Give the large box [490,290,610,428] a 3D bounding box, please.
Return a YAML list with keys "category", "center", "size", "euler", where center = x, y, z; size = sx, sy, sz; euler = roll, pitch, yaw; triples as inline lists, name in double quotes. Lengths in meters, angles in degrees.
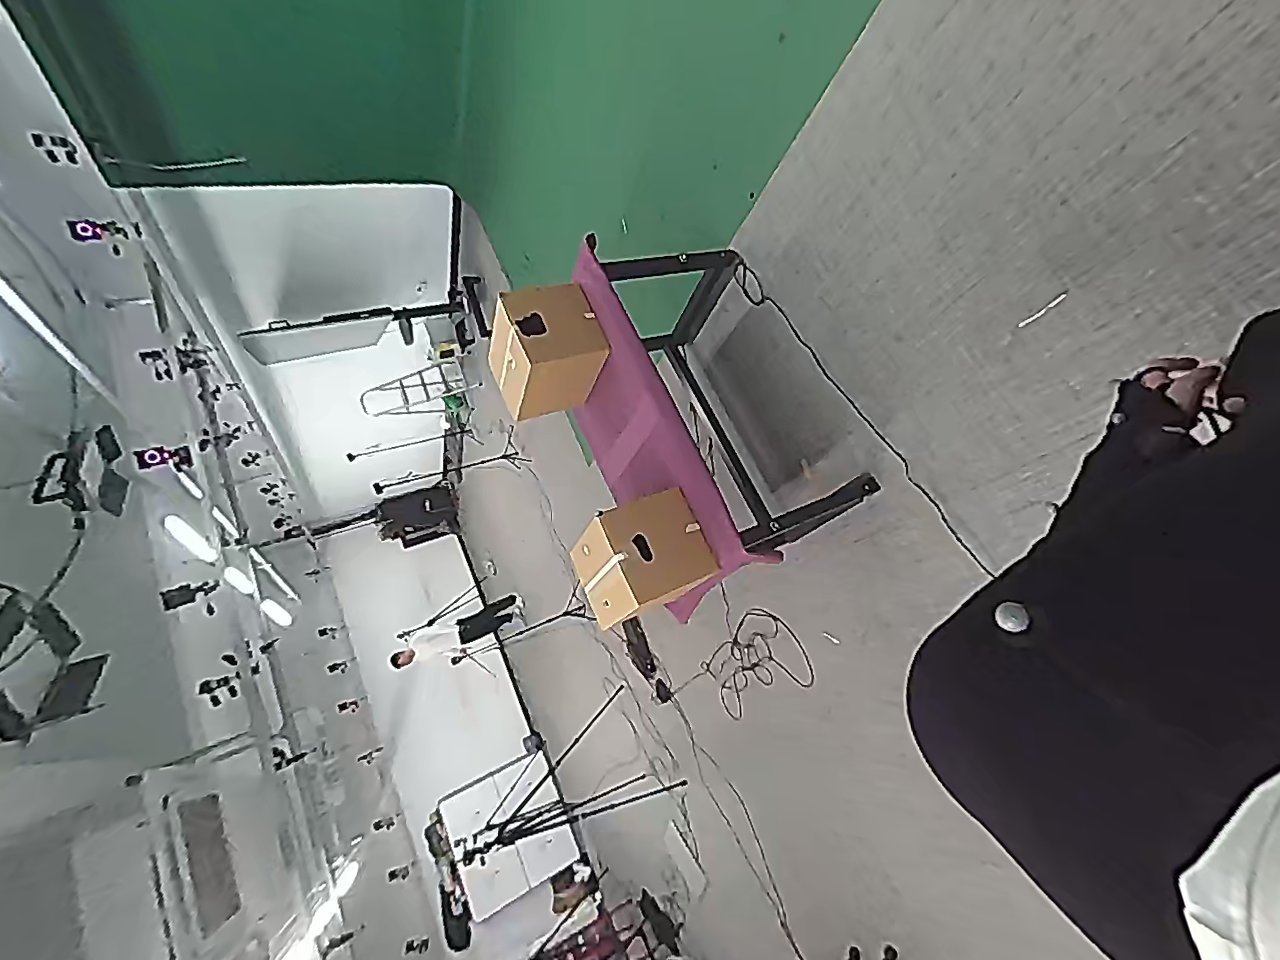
- category: "large box"
  center: [-0.354, -0.455, 2.059]
  size: [0.320, 0.320, 0.408]
  euler: [63, 151, 14]
